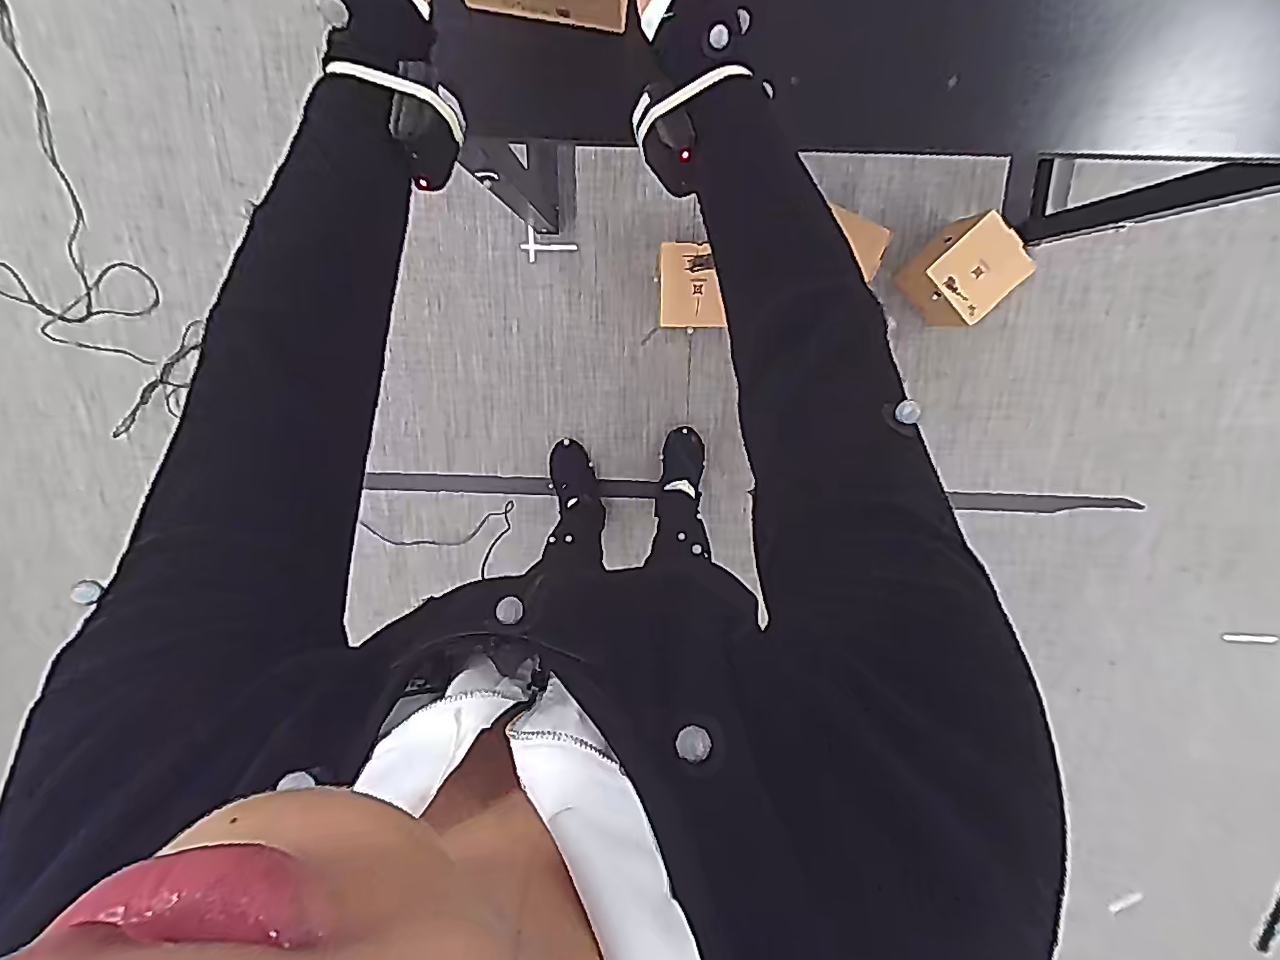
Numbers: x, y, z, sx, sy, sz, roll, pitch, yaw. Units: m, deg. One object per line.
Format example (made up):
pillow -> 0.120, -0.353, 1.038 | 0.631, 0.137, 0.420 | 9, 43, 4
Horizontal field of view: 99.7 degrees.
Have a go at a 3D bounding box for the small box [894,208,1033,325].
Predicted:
small box -> 0.722, -0.475, 1.226 | 0.168, 0.176, 0.179 | 44, 102, -10

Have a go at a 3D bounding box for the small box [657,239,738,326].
small box -> 0.125, -0.447, 1.243 | 0.168, 0.176, 0.179 | 1, 107, 1

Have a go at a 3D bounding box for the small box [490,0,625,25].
small box -> -0.087, -0.539, 0.460 | 0.168, 0.176, 0.179 | 8, 105, -2
